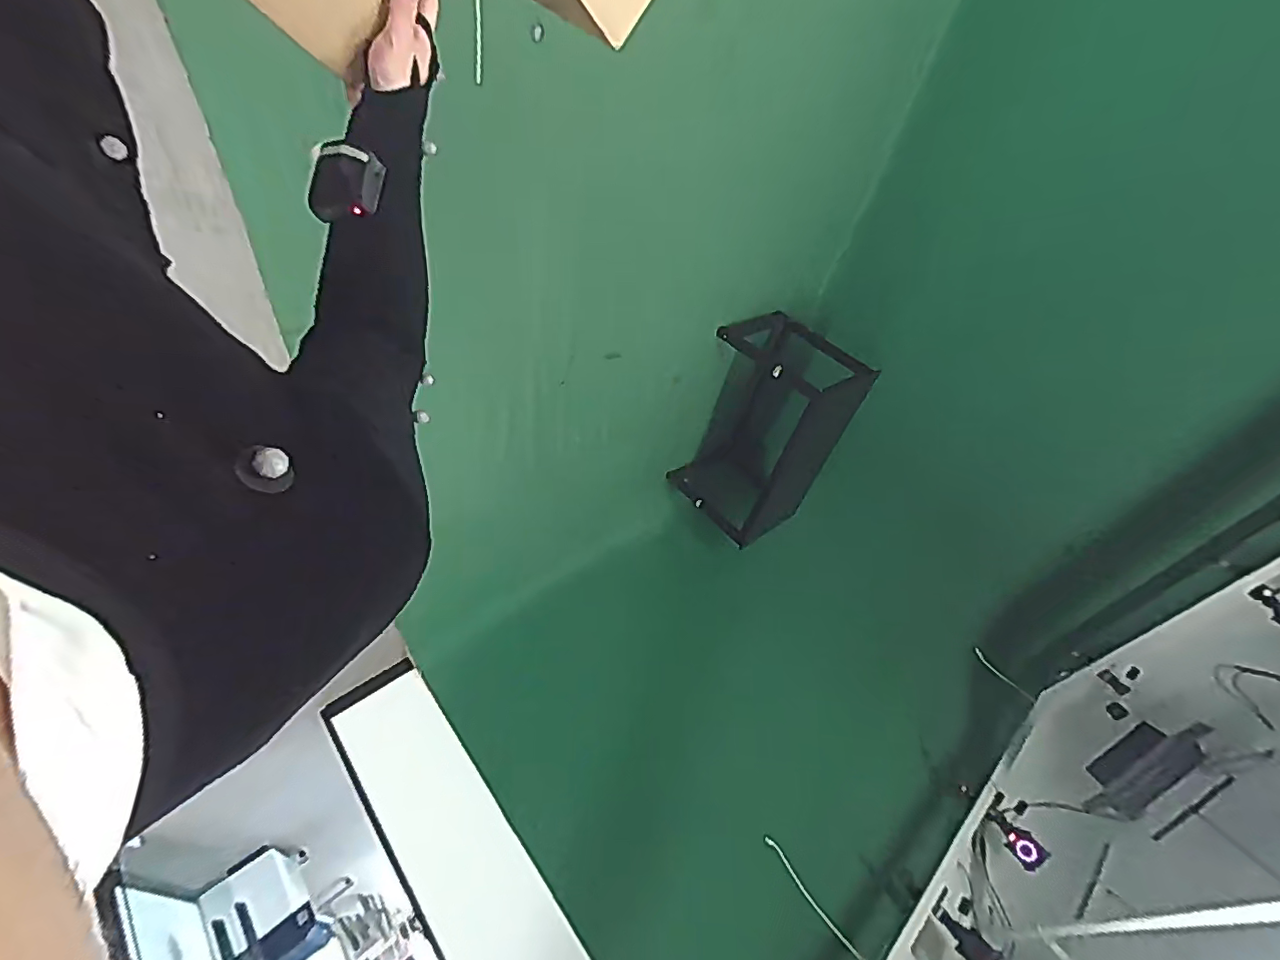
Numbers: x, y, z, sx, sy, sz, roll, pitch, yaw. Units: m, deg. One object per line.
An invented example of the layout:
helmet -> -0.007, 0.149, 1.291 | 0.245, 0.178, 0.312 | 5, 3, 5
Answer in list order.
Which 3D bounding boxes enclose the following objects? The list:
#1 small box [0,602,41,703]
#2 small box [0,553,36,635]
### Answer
small box -> -1.523, 0.409, 1.235 | 0.168, 0.176, 0.179 | -19, 142, -38
small box -> -1.621, 0.302, 1.309 | 0.168, 0.176, 0.179 | -21, 143, -35
